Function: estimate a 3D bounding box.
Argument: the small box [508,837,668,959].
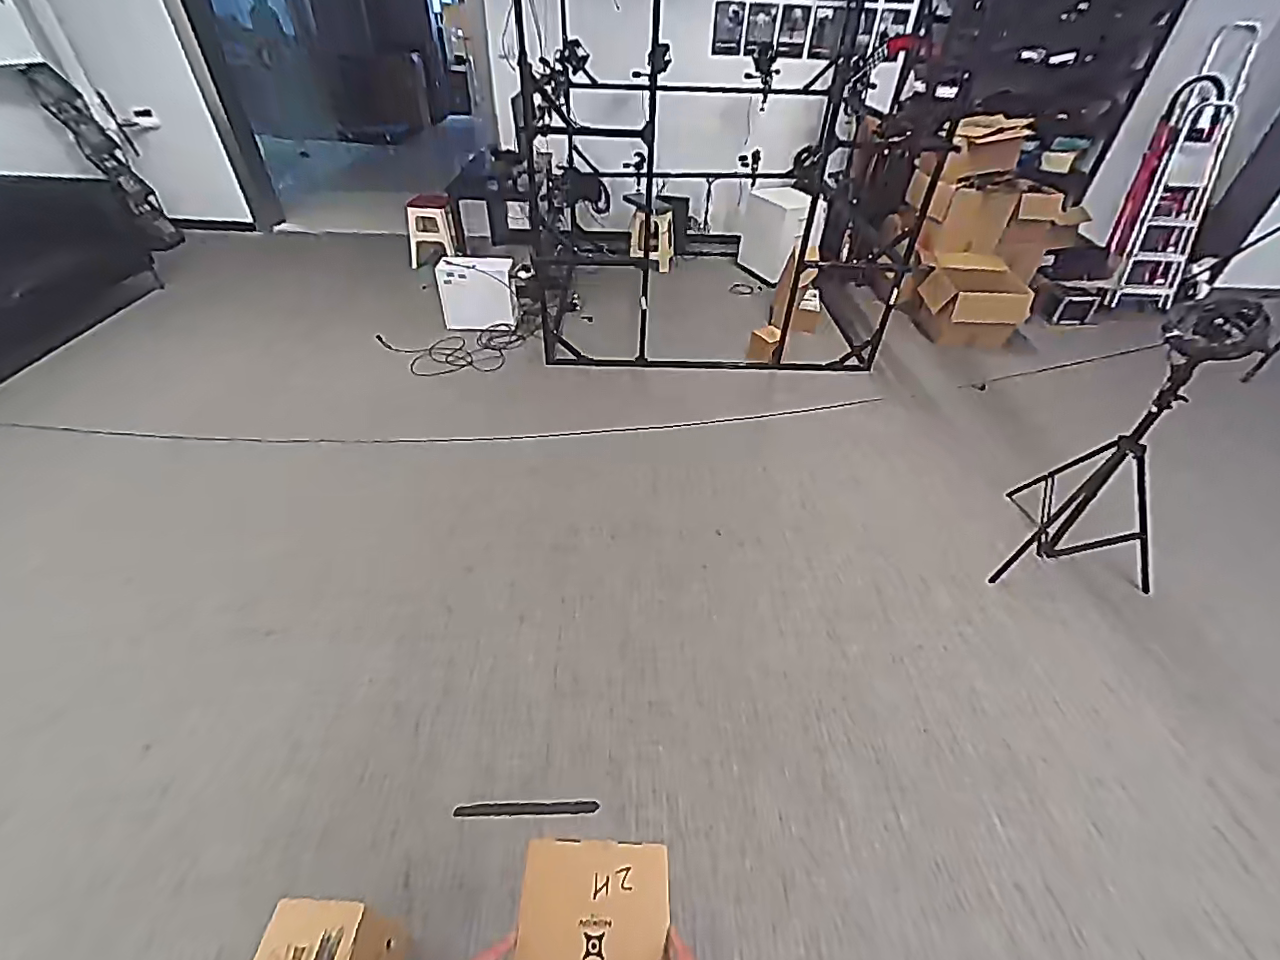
[{"bbox_3d":[-0.065,0.539,0.624,0.168,0.176,0.179,8,43,-7],"label":"small box"}]

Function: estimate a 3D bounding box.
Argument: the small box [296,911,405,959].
[{"bbox_3d":[-0.627,1.053,1.157,0.168,0.176,0.179,2,40,0],"label":"small box"}]
